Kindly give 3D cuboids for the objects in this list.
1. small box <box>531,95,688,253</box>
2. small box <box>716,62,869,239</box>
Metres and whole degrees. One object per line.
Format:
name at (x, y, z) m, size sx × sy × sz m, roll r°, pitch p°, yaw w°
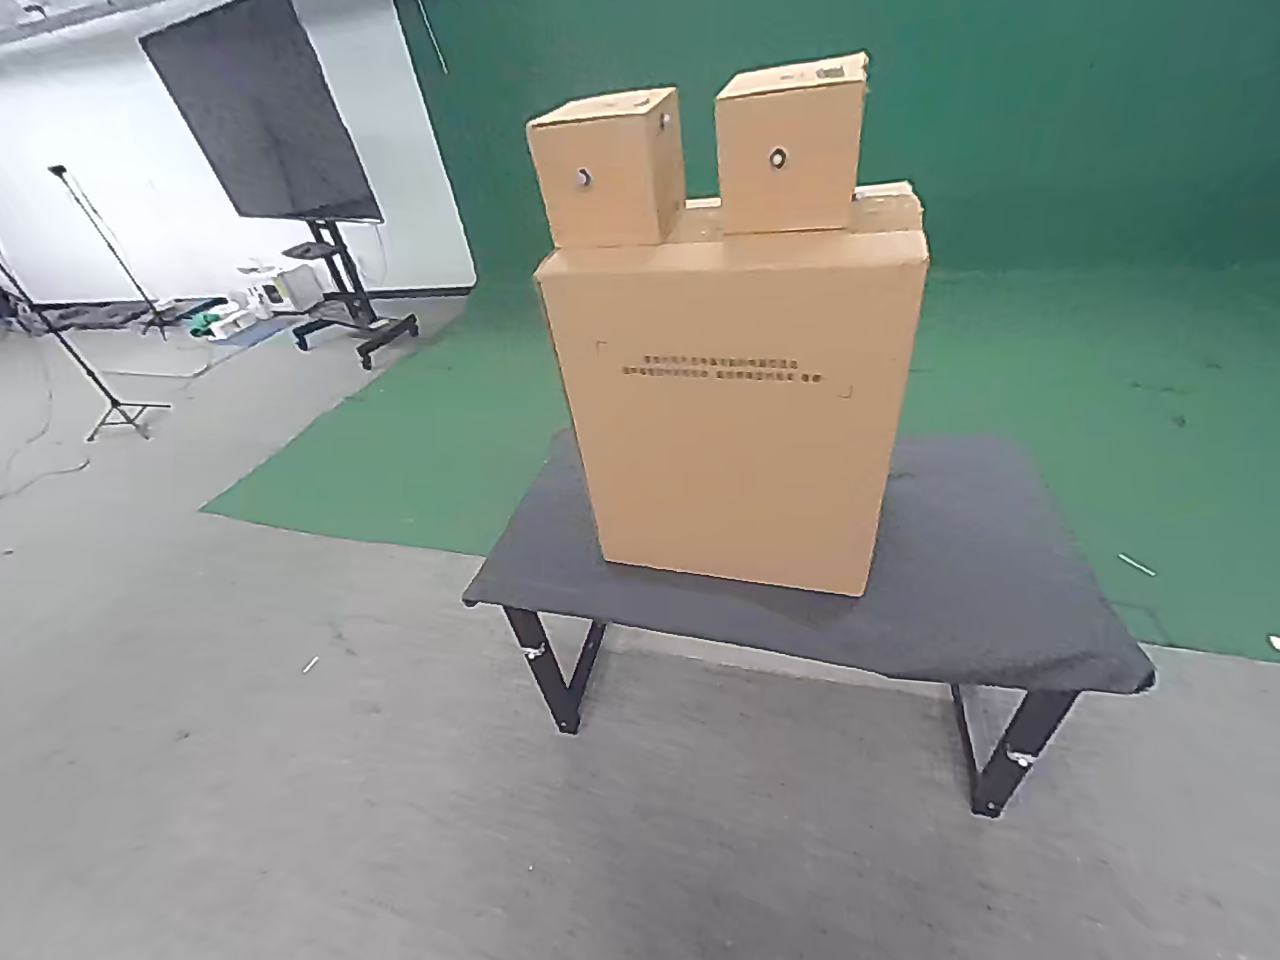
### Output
small box at (-0.035, -0.460, 0.824) m, size 0.179 × 0.176 × 0.168 m, roll 5°, pitch 45°, yaw 19°
small box at (0.214, -0.453, 0.756) m, size 0.179 × 0.176 × 0.168 m, roll 5°, pitch 45°, yaw 20°
